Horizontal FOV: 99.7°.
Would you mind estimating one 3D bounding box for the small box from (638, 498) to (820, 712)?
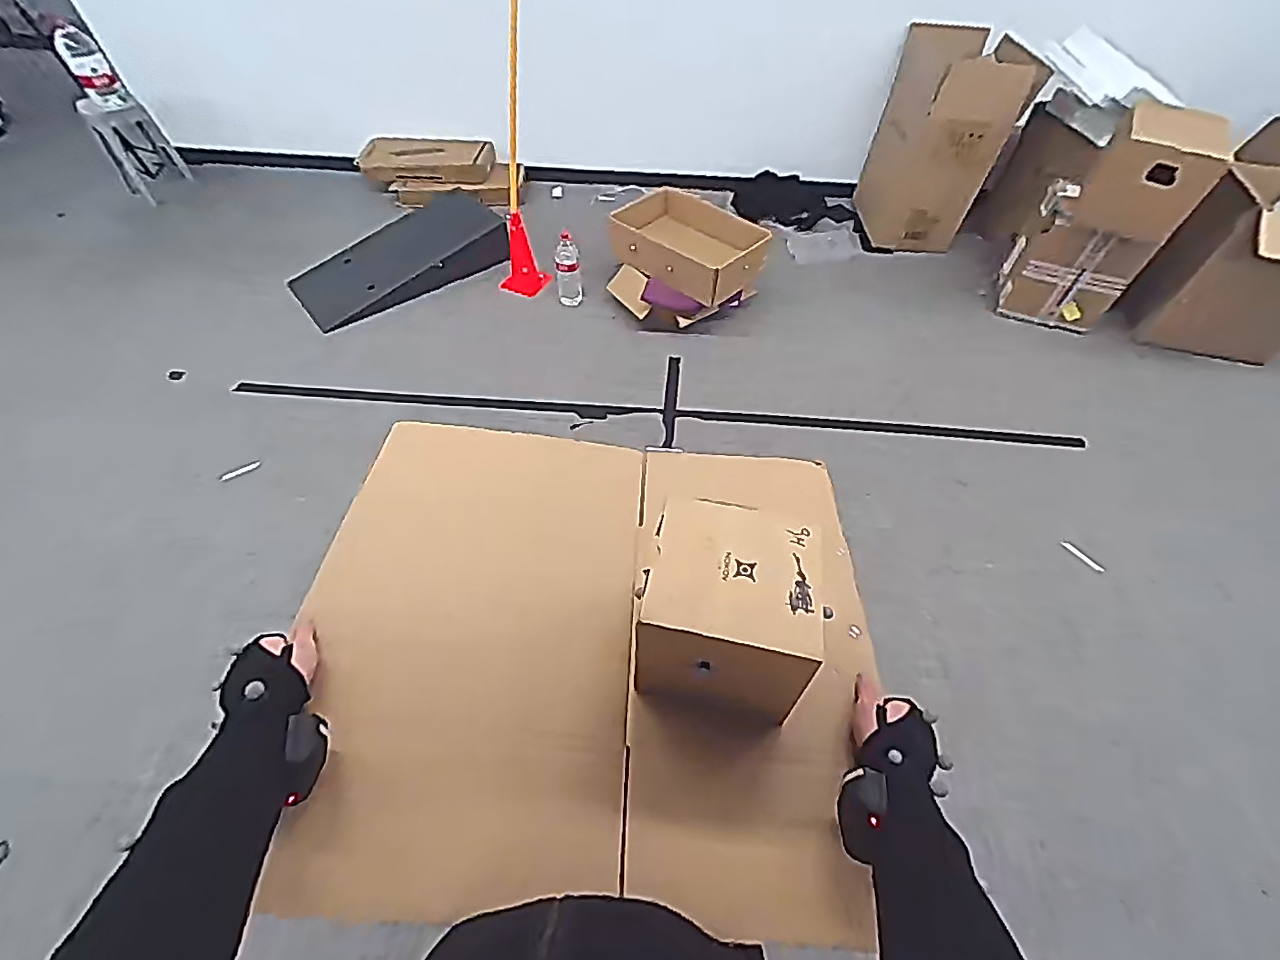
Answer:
[{"bbox_3d":[0.099,0.145,0.620,0.179,0.176,0.168,9,49,8],"label":"small box"}]
